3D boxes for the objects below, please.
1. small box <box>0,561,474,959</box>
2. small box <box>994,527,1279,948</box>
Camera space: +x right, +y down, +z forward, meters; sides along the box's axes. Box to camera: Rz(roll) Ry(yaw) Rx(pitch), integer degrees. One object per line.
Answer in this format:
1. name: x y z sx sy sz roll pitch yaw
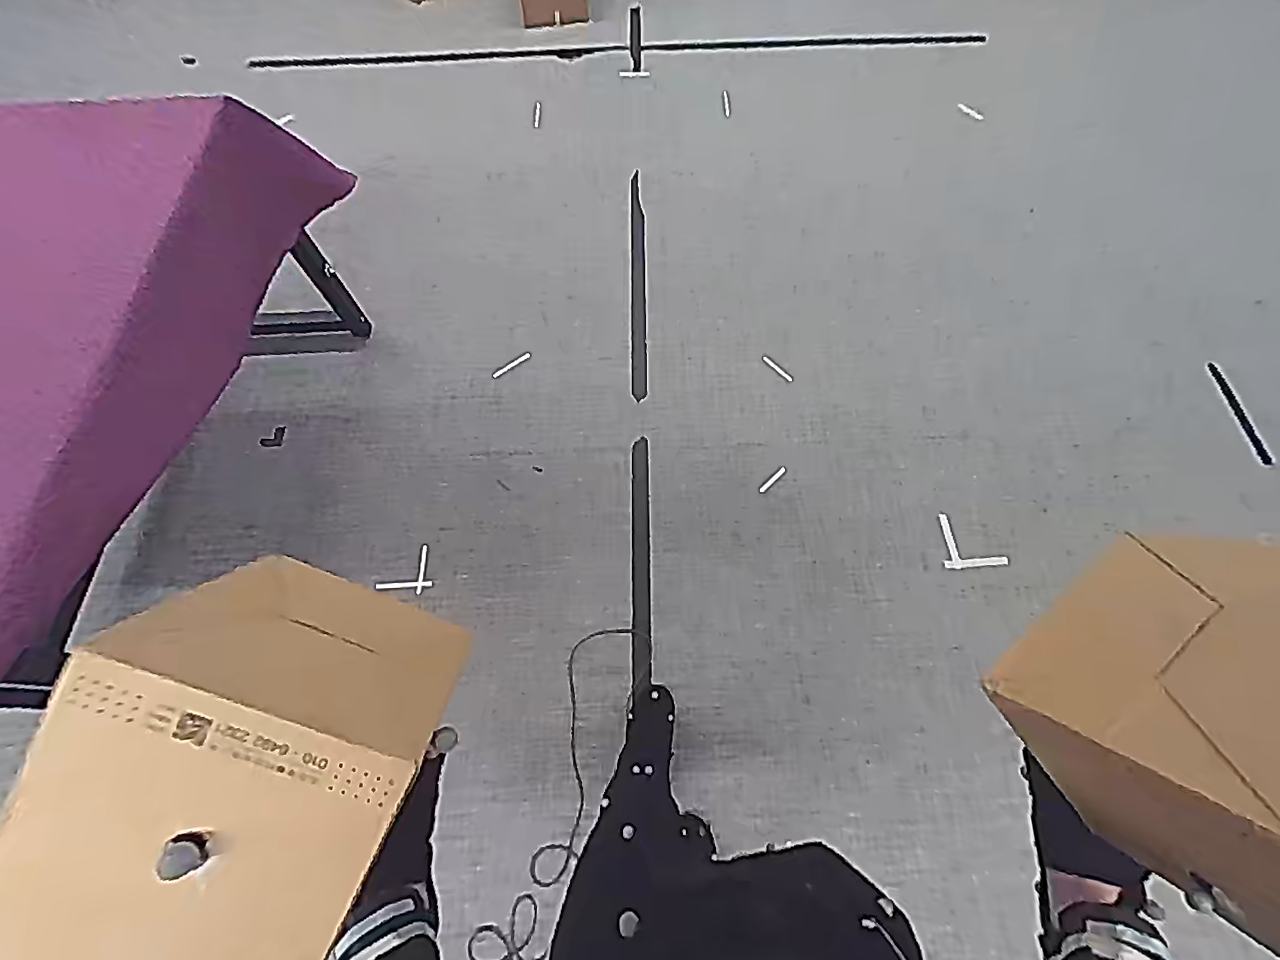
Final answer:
1. small box: -0.228 0.168 0.344 0.168 0.179 0.176 26 92 -8
2. small box: 0.365 0.147 0.316 0.168 0.179 0.176 -39 98 -6
